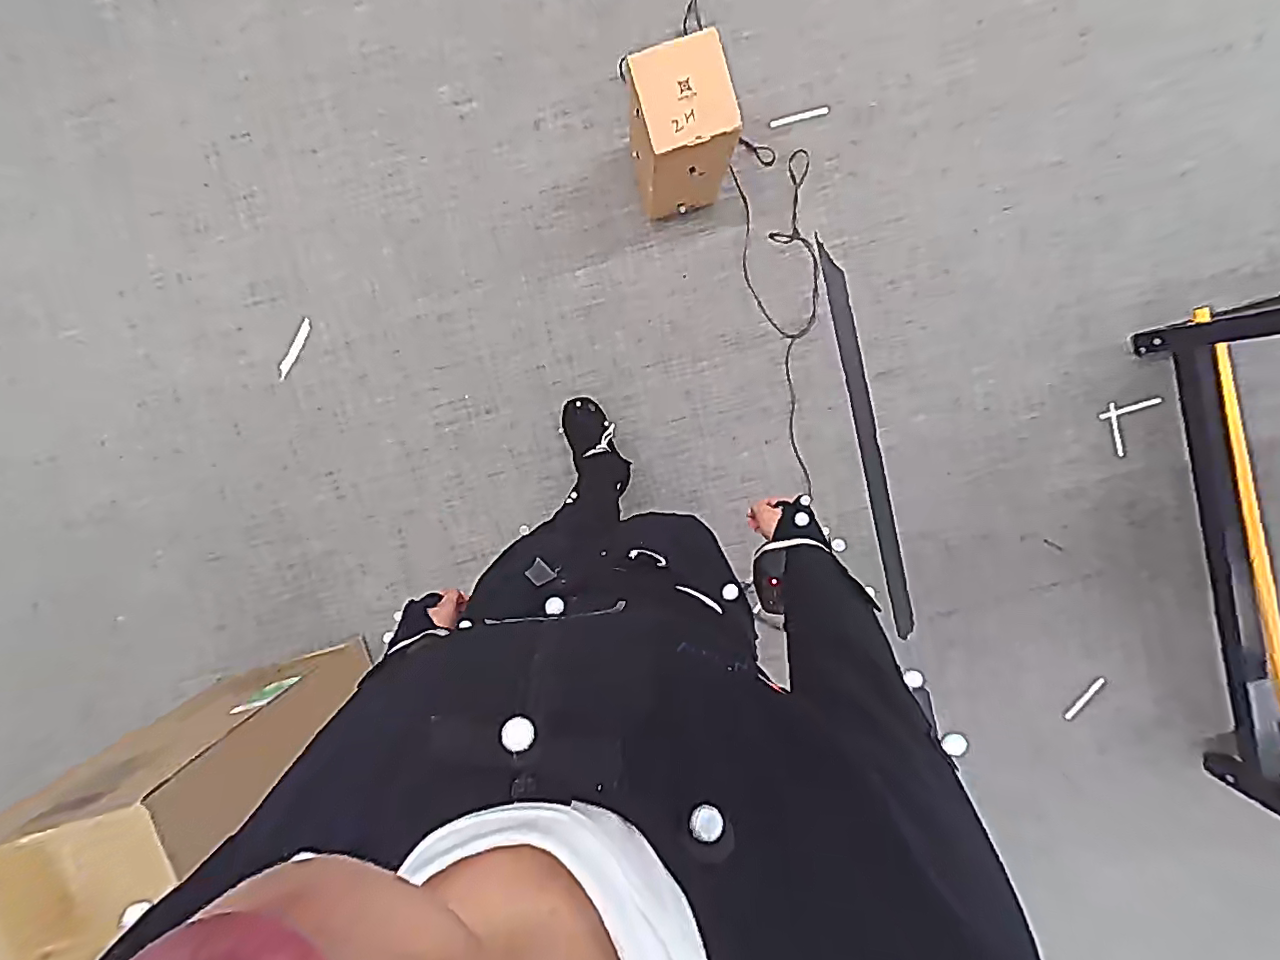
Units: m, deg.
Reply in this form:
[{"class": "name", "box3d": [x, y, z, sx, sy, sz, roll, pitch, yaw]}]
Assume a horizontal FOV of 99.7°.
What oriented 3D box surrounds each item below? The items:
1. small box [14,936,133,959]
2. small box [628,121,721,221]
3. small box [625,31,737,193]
[{"class": "small box", "box3d": [-0.811, 0.758, 0.718, 0.168, 0.176, 0.179, -17, 96, 1]}, {"class": "small box", "box3d": [0.069, -0.707, 1.197, 0.168, 0.176, 0.179, -15, 97, 1]}, {"class": "small box", "box3d": [0.072, -0.690, 1.033, 0.168, 0.176, 0.179, -17, 96, 2]}]
